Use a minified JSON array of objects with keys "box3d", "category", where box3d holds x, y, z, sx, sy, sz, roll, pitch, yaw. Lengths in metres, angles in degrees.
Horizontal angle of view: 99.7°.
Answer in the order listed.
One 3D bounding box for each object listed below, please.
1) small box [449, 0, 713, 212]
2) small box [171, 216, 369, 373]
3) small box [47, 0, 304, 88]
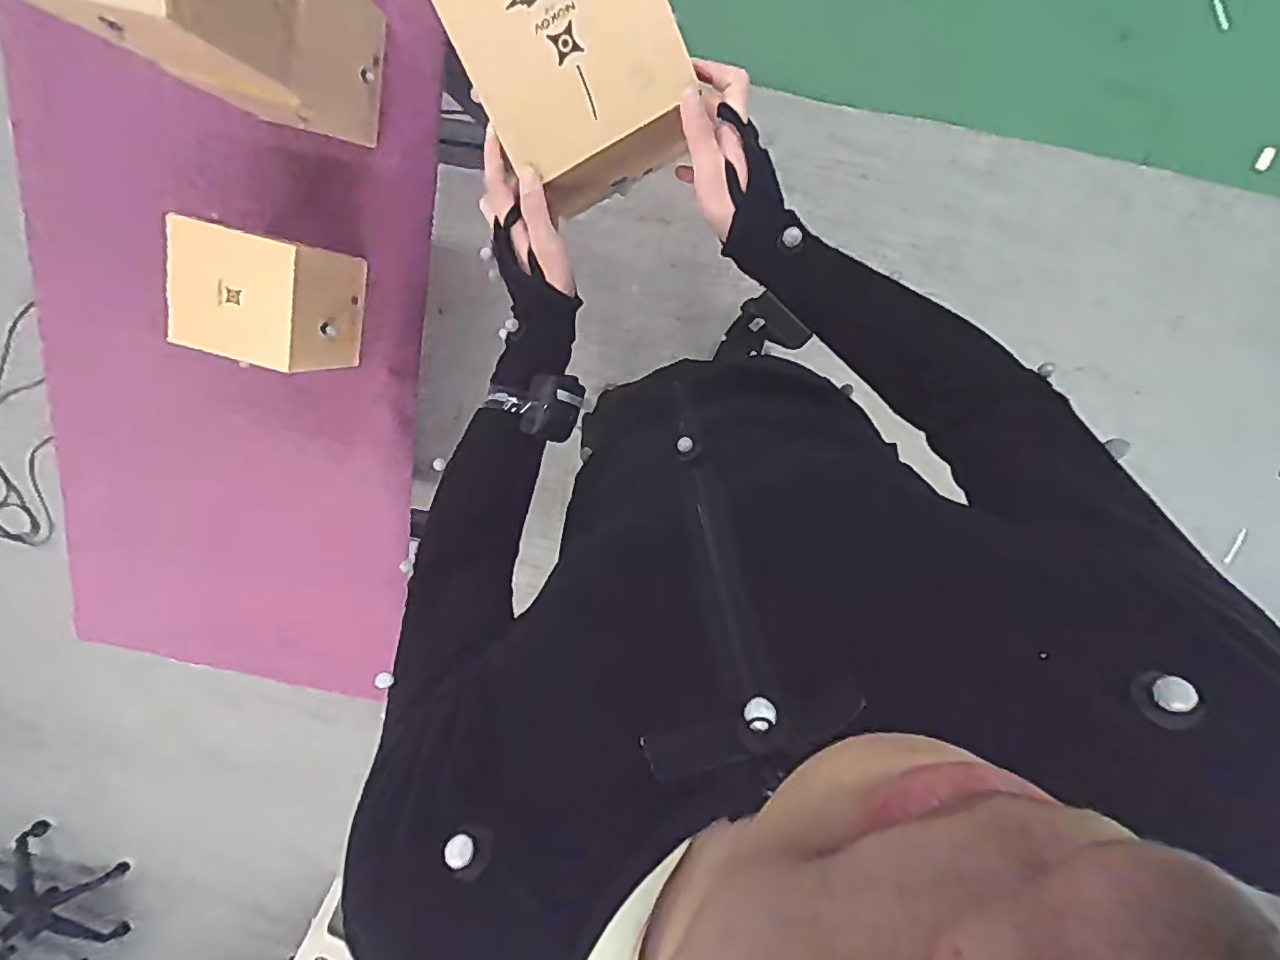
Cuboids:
[{"box3d":[-0.044,-0.375,0.494,0.168,0.176,0.179,-23,105,12],"category":"small box"},{"box3d":[-0.523,-0.264,0.785,0.179,0.176,0.168,15,107,2],"category":"small box"},{"box3d":[-0.469,-0.523,0.532,0.179,0.176,0.168,14,108,1],"category":"small box"}]
